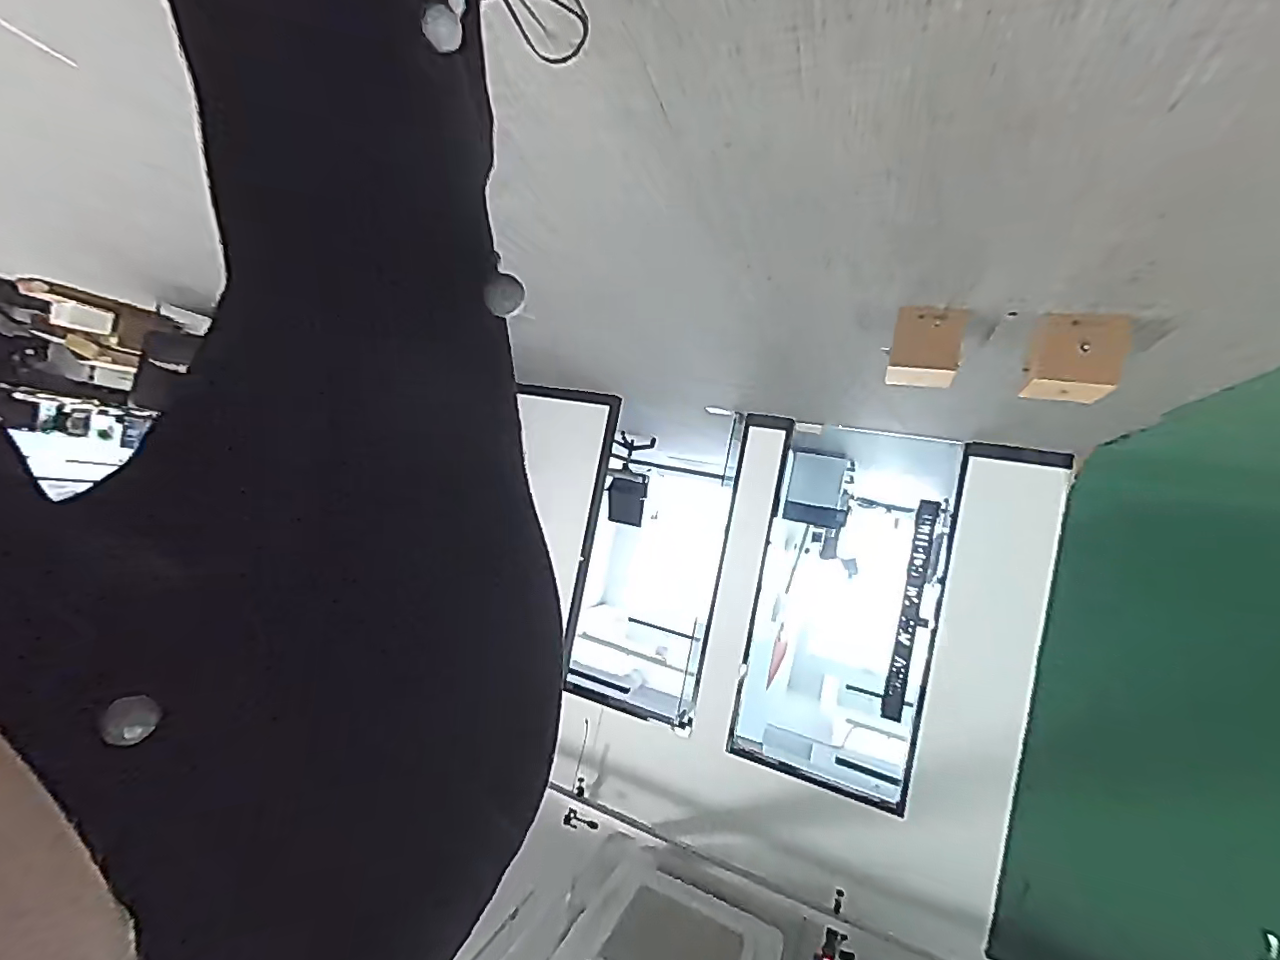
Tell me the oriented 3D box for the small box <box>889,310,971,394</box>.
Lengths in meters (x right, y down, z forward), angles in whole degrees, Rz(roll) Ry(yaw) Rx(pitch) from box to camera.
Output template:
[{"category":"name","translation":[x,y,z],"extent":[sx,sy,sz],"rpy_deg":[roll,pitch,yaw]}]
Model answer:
[{"category":"small box","translation":[0.783,-0.345,1.467],"extent":[0.168,0.176,0.179],"rpy_deg":[10,178,23]}]

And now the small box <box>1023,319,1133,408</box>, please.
[{"category":"small box","translation":[1.078,-0.287,1.337],"extent":[0.168,0.176,0.179],"rpy_deg":[11,179,23]}]
